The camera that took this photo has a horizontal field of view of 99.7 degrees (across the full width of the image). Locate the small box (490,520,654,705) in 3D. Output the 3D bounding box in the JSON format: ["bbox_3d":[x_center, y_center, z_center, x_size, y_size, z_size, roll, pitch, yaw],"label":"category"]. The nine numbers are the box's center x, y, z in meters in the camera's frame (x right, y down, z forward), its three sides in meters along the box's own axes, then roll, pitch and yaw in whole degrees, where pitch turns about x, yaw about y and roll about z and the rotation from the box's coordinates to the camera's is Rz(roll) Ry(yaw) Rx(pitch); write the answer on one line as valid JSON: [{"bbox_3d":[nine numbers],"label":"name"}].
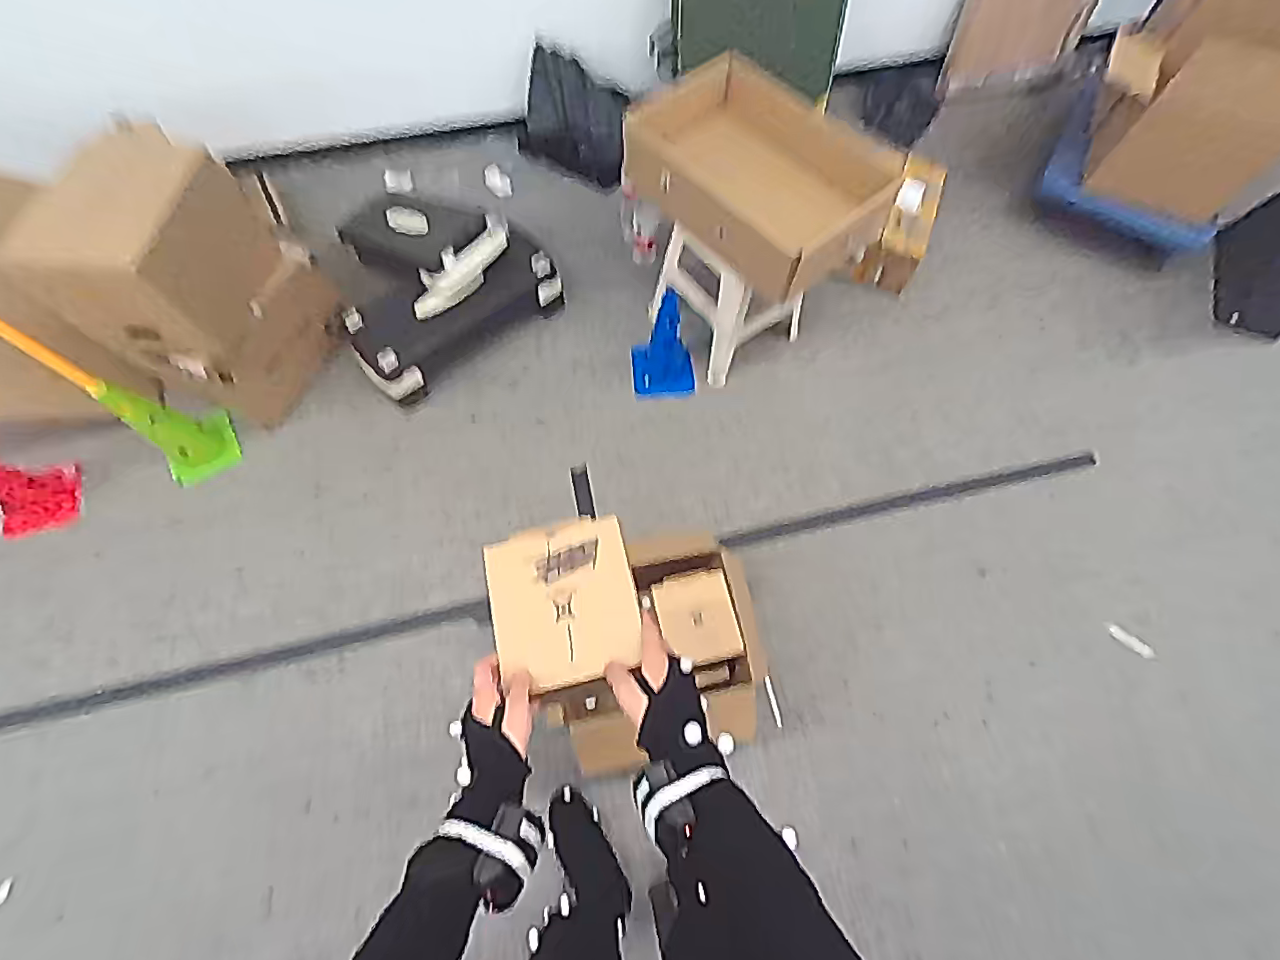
[{"bbox_3d":[-0.080,0.175,0.690,0.168,0.176,0.179,-14,65,-2],"label":"small box"}]
